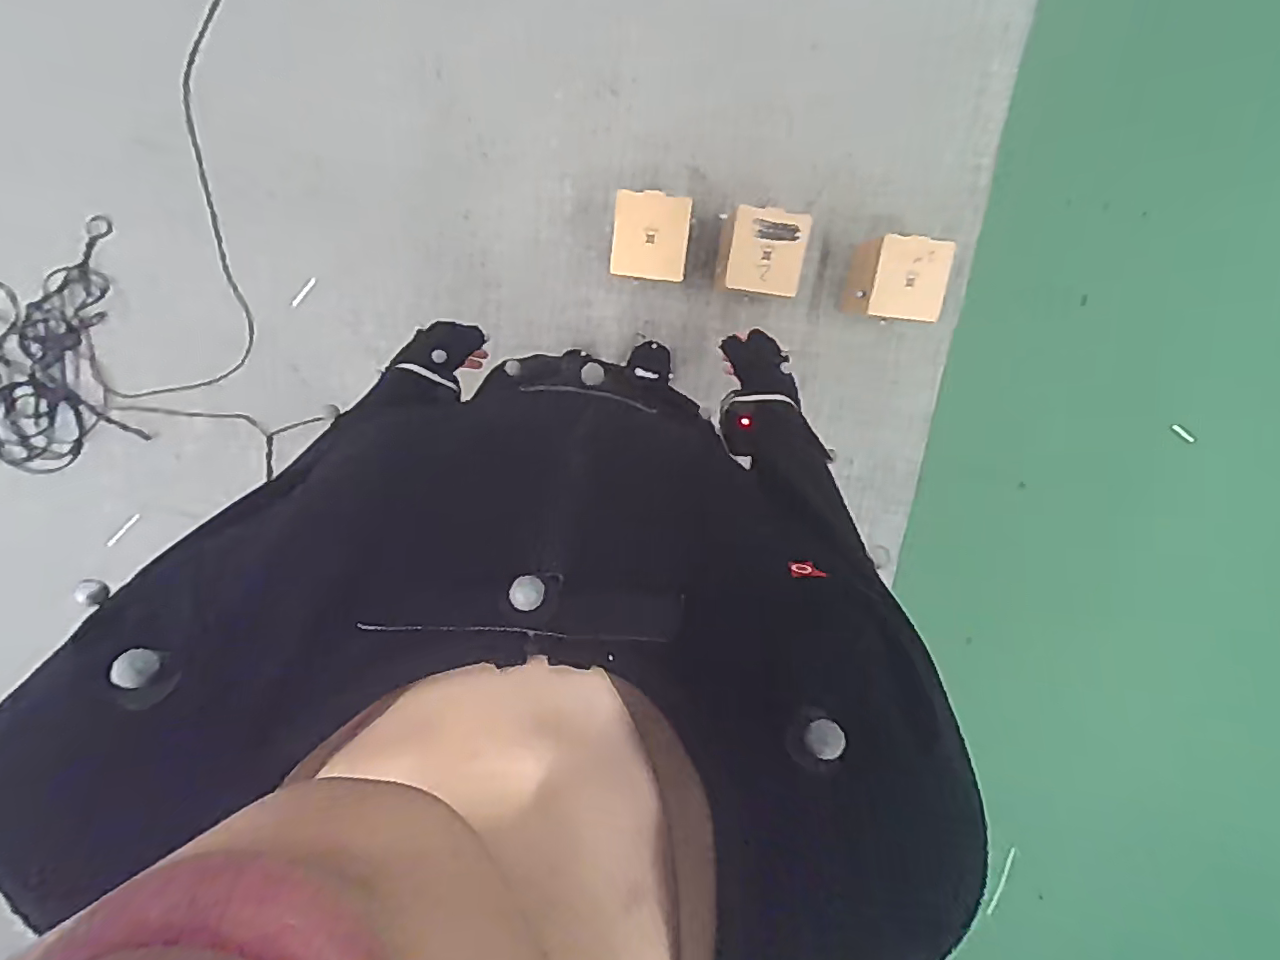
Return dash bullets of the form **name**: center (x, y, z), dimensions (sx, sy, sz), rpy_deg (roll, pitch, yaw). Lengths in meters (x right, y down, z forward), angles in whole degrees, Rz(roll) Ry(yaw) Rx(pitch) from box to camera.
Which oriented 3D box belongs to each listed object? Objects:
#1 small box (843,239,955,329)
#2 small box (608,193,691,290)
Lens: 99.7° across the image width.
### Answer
- **small box**: center (0.604, -0.461, 1.289), dimensions (0.168, 0.176, 0.179), rpy_deg (6, 105, -3)
- **small box**: center (0.021, -0.545, 1.258), dimensions (0.168, 0.176, 0.179), rpy_deg (6, 105, -2)
